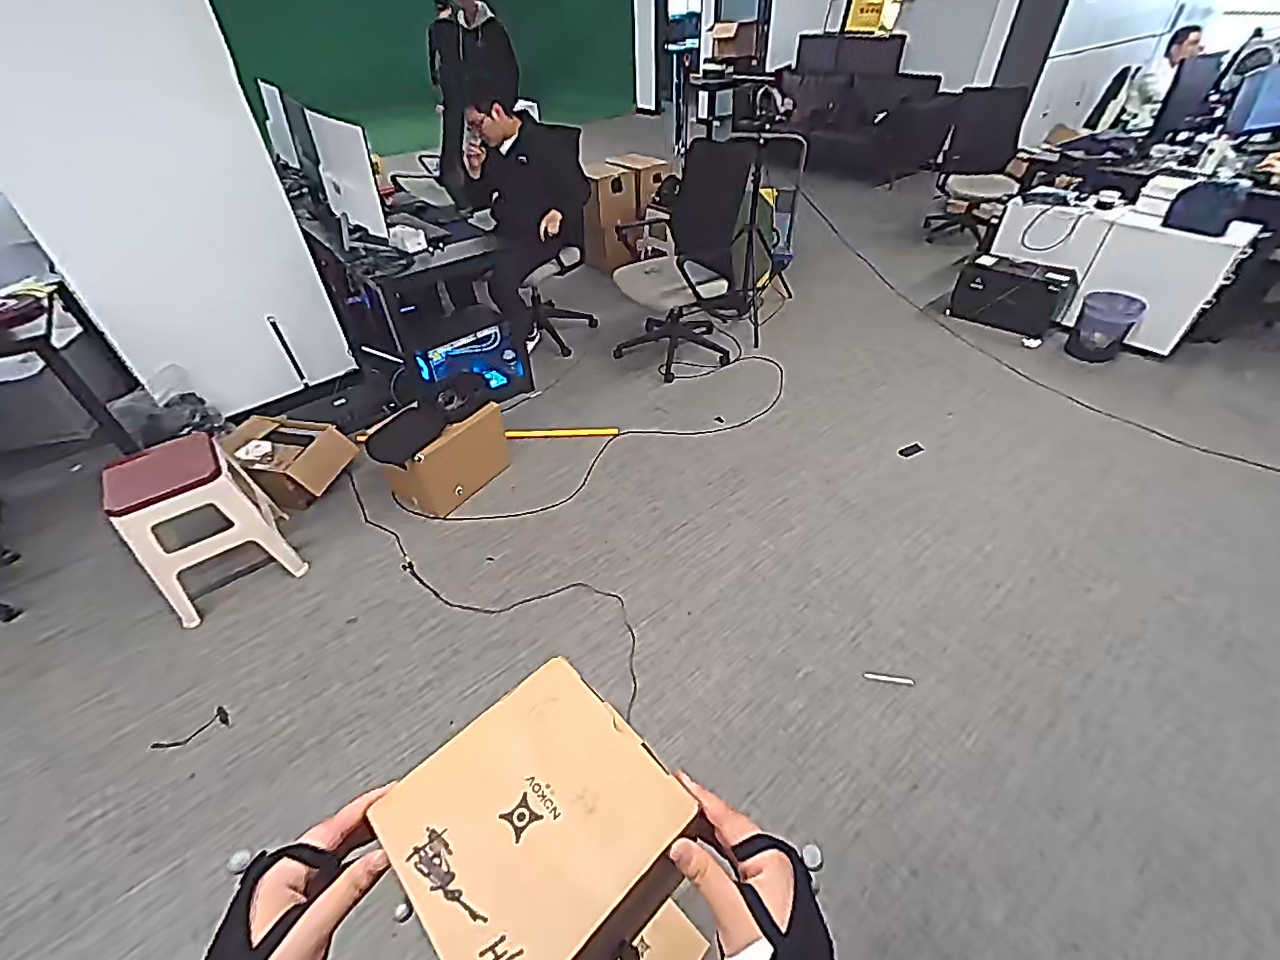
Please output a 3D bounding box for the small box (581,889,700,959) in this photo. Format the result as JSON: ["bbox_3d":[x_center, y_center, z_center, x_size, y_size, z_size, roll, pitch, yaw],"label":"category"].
[{"bbox_3d":[0.002,0.972,1.074,0.179,0.176,0.168,-33,51,-29],"label":"small box"}]
